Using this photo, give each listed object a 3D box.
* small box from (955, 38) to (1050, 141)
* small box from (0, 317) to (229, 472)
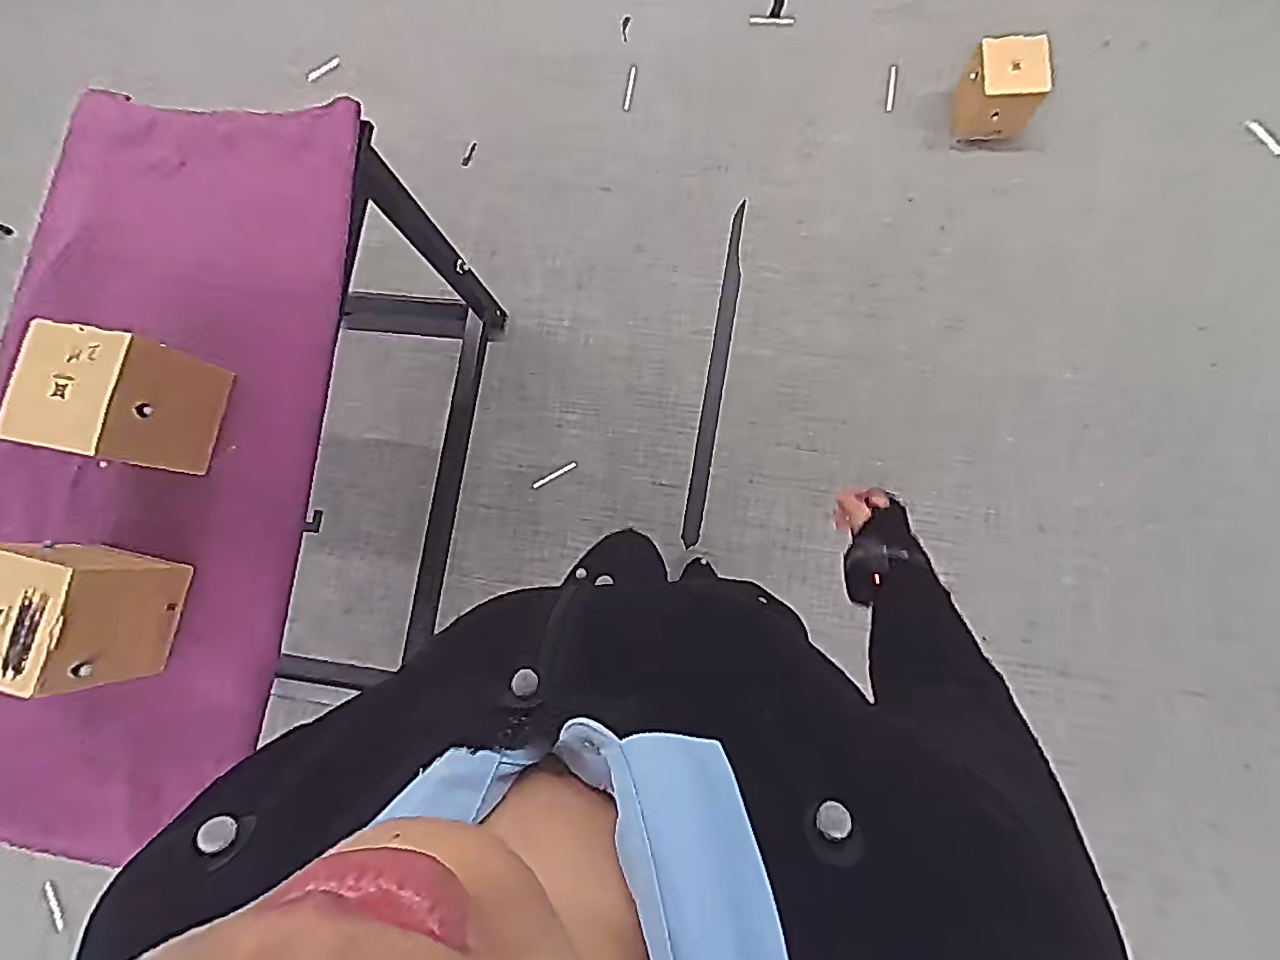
[{"bbox_3d":[1.010,-1.084,1.518,0.168,0.176,0.179,1,81,6],"label":"small box"},{"bbox_3d":[-0.769,-0.117,0.808,0.168,0.176,0.179,11,82,7],"label":"small box"}]
